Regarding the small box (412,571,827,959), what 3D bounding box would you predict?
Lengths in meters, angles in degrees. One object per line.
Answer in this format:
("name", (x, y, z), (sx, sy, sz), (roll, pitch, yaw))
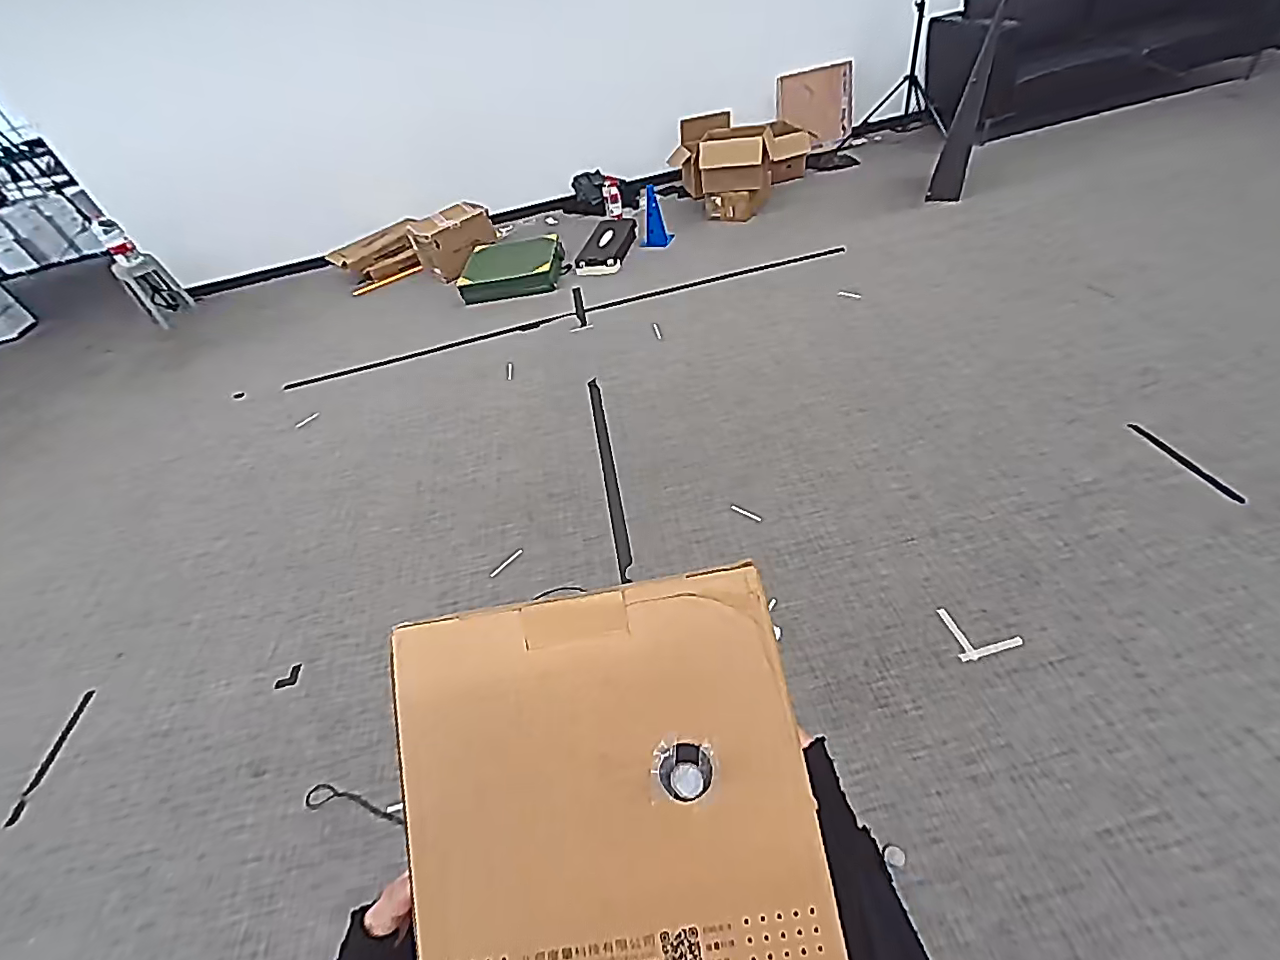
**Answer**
("small box", (-0.006, 0.154, 0.317), (0.168, 0.179, 0.176), (-11, 79, 3))
